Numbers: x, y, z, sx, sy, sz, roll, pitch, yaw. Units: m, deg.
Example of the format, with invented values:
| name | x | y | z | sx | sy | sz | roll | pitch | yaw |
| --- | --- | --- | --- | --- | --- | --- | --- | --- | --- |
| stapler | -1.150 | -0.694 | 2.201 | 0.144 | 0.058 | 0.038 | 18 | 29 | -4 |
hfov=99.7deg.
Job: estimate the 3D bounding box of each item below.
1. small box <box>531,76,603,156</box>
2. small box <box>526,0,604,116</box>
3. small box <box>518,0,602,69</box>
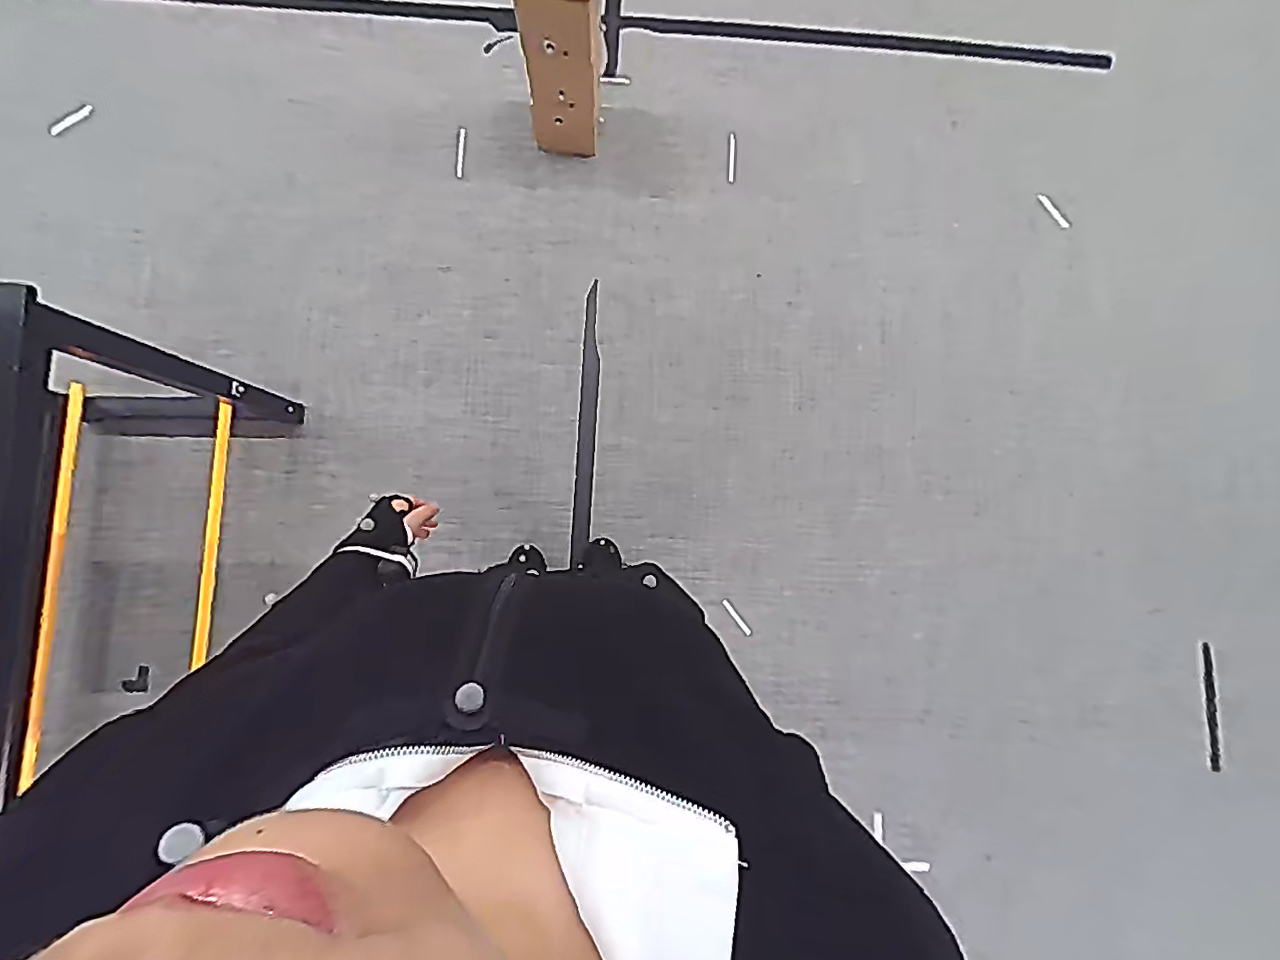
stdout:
| name | x | y | z | sx | sy | sz | roll | pitch | yaw |
| --- | --- | --- | --- | --- | --- | --- | --- | --- | --- |
| small box | -0.201 | -1.050 | 1.522 | 0.179 | 0.176 | 0.168 | 6 | 85 | -4 |
| small box | -0.183 | -1.069 | 1.359 | 0.168 | 0.176 | 0.179 | 6 | 85 | -3 |
| small box | -0.173 | -1.069 | 1.196 | 0.168 | 0.176 | 0.179 | 6 | 86 | -2 |
